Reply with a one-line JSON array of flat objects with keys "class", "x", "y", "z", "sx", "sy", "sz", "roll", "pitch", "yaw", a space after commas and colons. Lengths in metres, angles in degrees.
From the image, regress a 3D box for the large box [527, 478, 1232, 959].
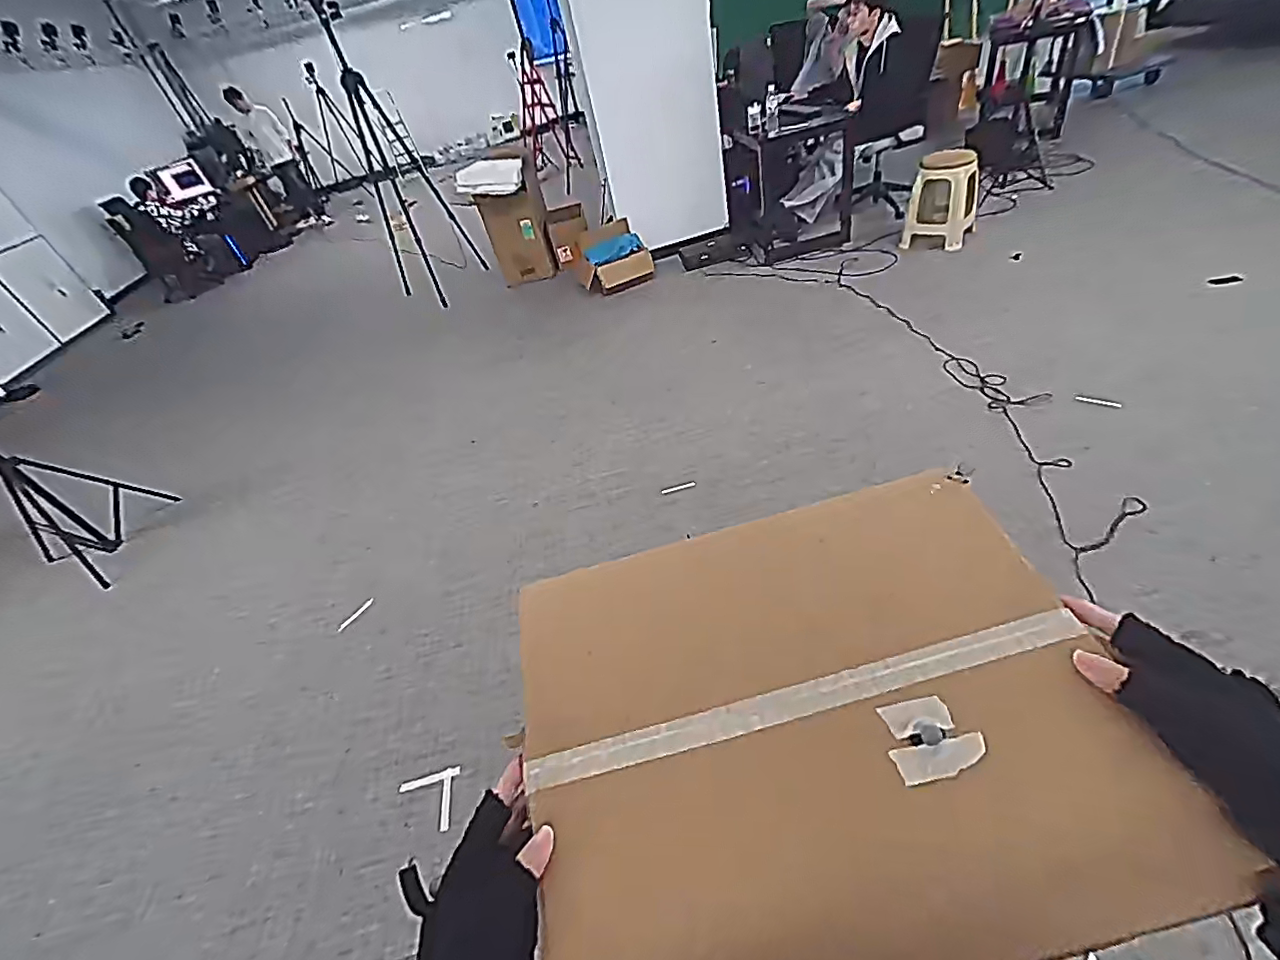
[{"class": "large box", "x": 0.142, "y": 0.257, "z": 0.513, "sx": 0.408, "sy": 0.320, "sz": 0.320, "roll": -16, "pitch": 50, "yaw": 0}]
